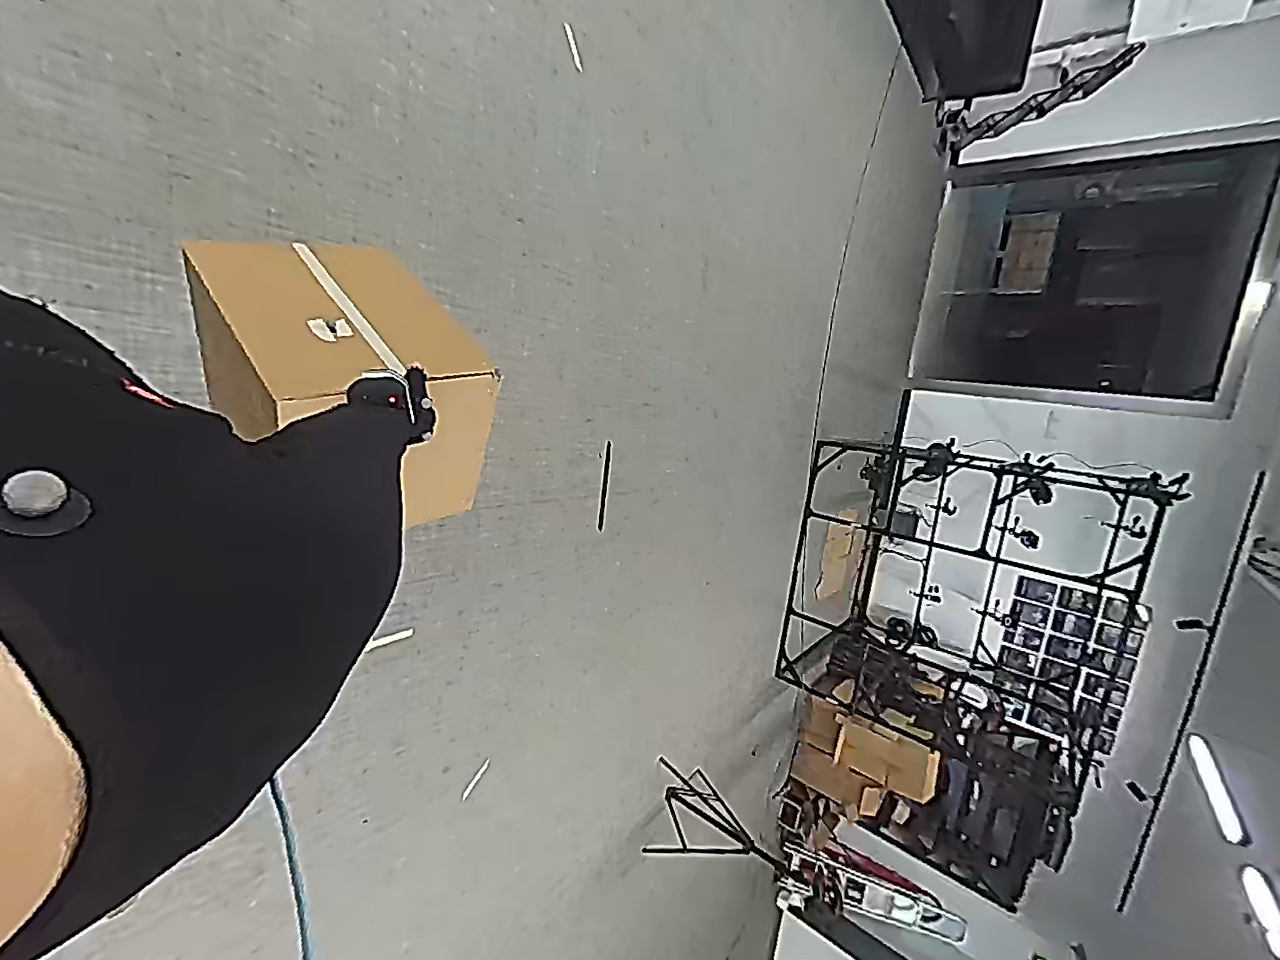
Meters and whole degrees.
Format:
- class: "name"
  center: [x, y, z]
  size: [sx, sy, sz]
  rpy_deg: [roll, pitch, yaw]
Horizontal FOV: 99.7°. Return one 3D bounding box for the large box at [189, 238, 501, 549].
- class: "large box"
  center: [-0.505, -0.160, 0.929]
  size: [0.320, 0.408, 0.320]
  rpy_deg: [-20, 148, -42]
